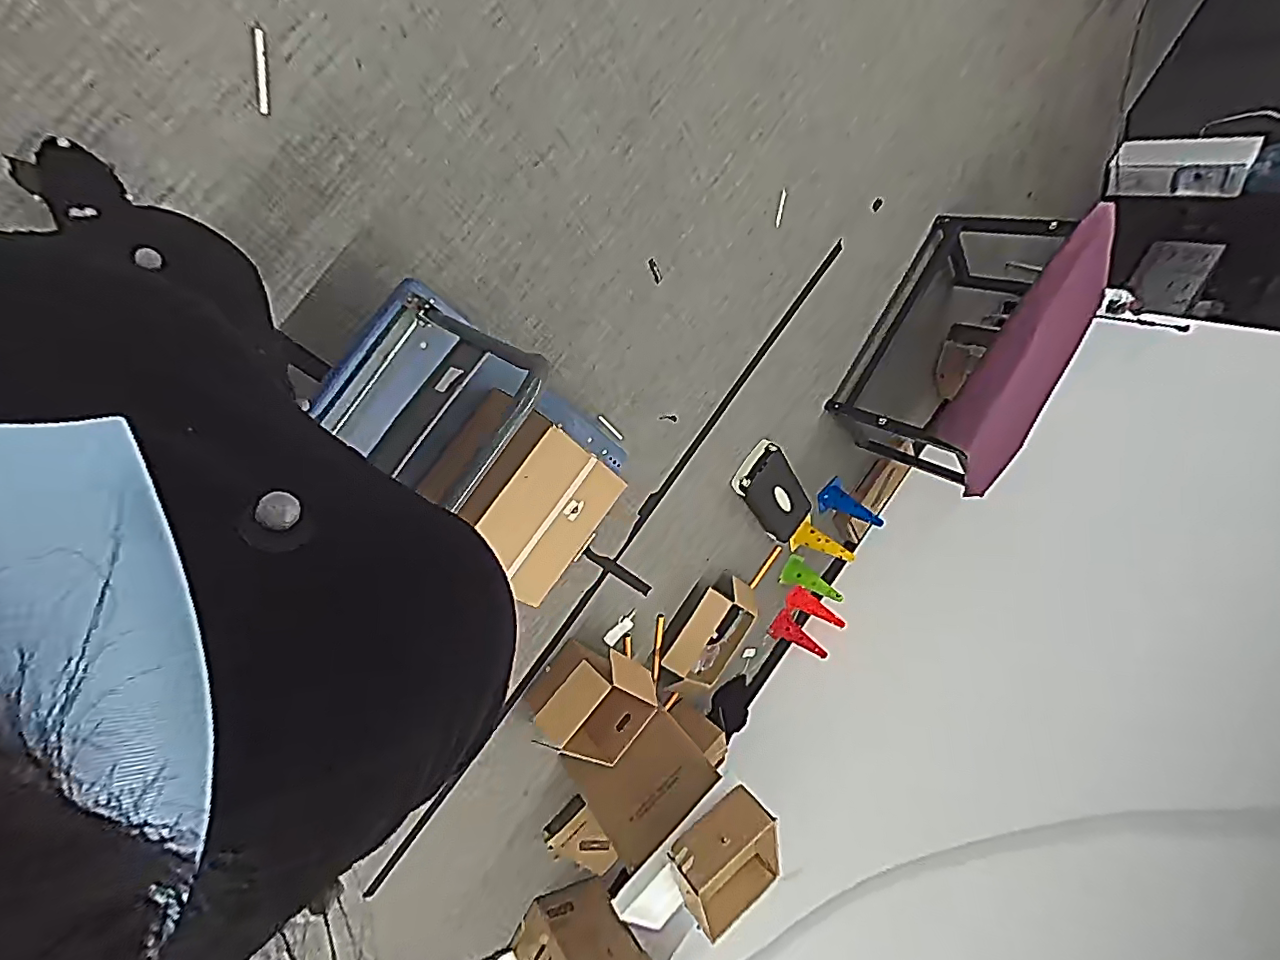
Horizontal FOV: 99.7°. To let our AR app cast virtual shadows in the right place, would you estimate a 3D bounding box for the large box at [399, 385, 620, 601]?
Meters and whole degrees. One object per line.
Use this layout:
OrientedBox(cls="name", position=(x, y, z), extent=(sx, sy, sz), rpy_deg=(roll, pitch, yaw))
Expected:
OrientedBox(cls="large box", position=(-0.334, 0.031, 1.389), extent=(0.408, 0.320, 0.320), rpy_deg=(-54, 138, -5))
